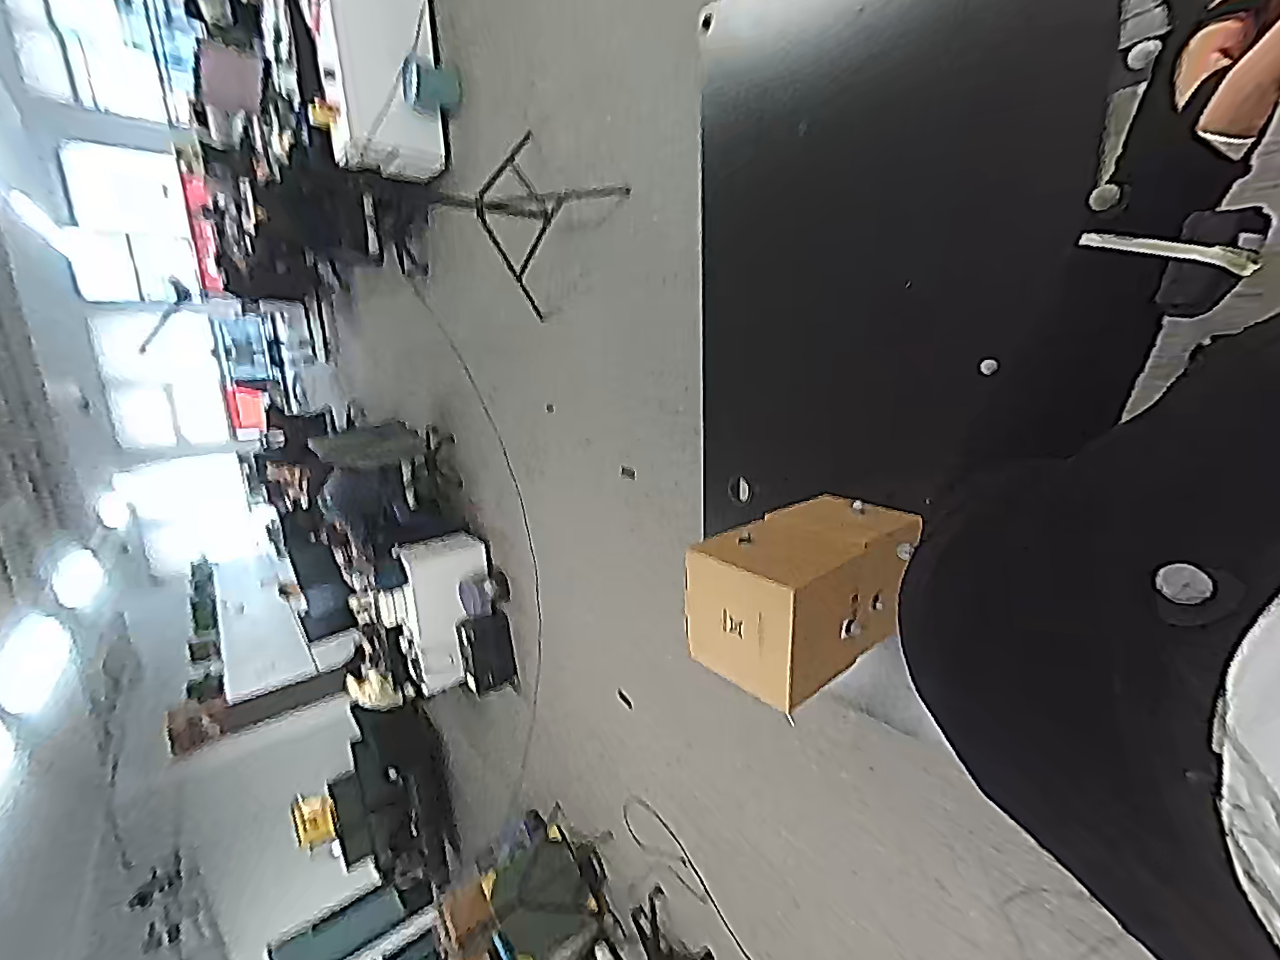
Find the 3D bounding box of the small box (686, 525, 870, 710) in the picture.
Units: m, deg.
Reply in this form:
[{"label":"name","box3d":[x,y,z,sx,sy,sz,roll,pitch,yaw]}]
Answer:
[{"label":"small box","box3d":[0.182,0.167,0.732,0.179,0.176,0.168,13,111,49]}]

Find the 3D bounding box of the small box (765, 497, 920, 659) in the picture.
[{"label":"small box","box3d":[0.307,0.138,0.831,0.168,0.176,0.179,16,111,49]}]
